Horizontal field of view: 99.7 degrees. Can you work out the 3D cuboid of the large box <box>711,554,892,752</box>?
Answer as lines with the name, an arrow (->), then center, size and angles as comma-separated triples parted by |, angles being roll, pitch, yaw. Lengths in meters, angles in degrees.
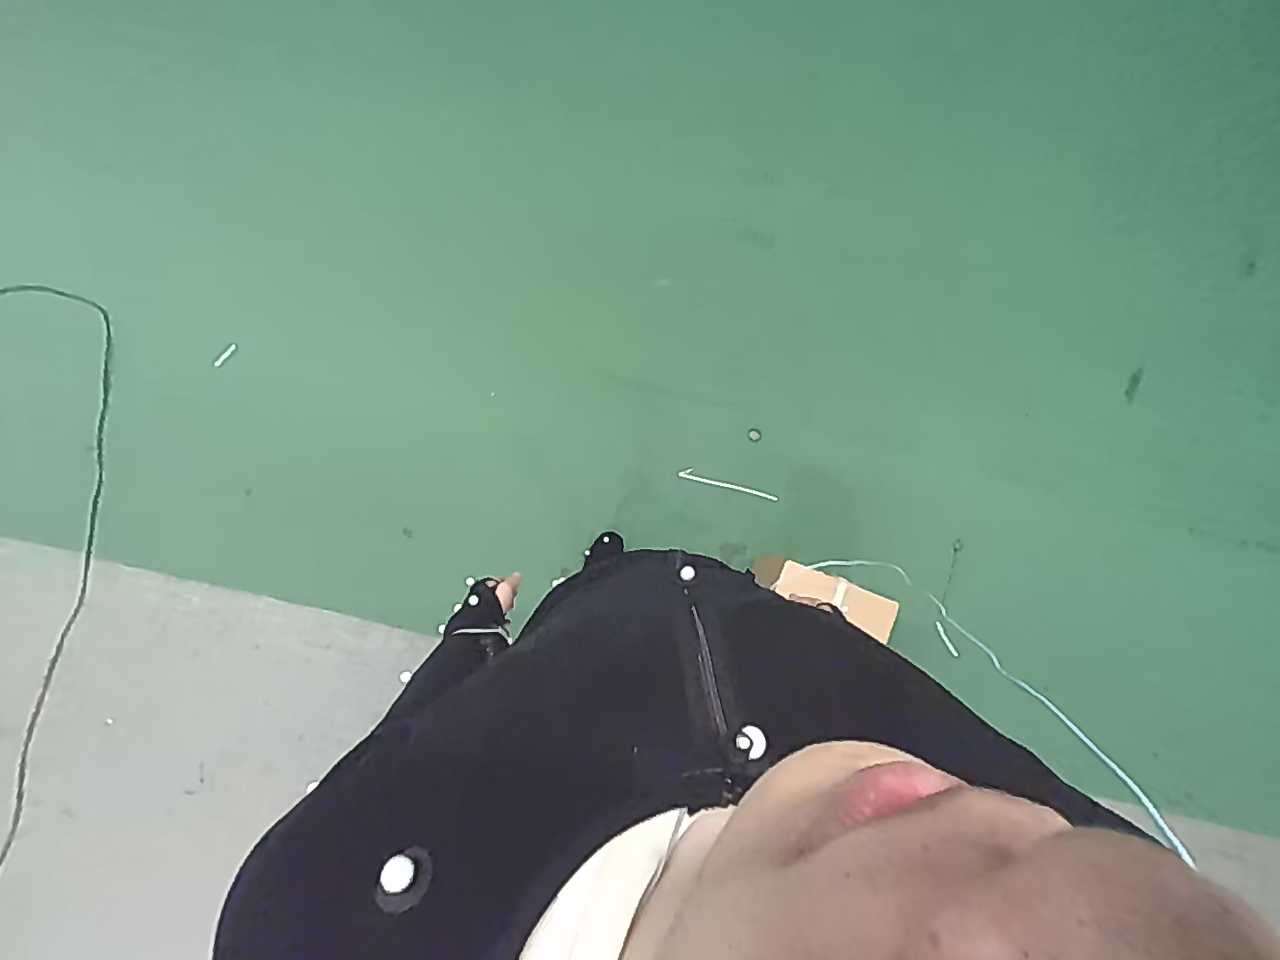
large box -> 0.427, 0.450, 1.502 | 0.320, 0.320, 0.408 | 21, 84, 0
